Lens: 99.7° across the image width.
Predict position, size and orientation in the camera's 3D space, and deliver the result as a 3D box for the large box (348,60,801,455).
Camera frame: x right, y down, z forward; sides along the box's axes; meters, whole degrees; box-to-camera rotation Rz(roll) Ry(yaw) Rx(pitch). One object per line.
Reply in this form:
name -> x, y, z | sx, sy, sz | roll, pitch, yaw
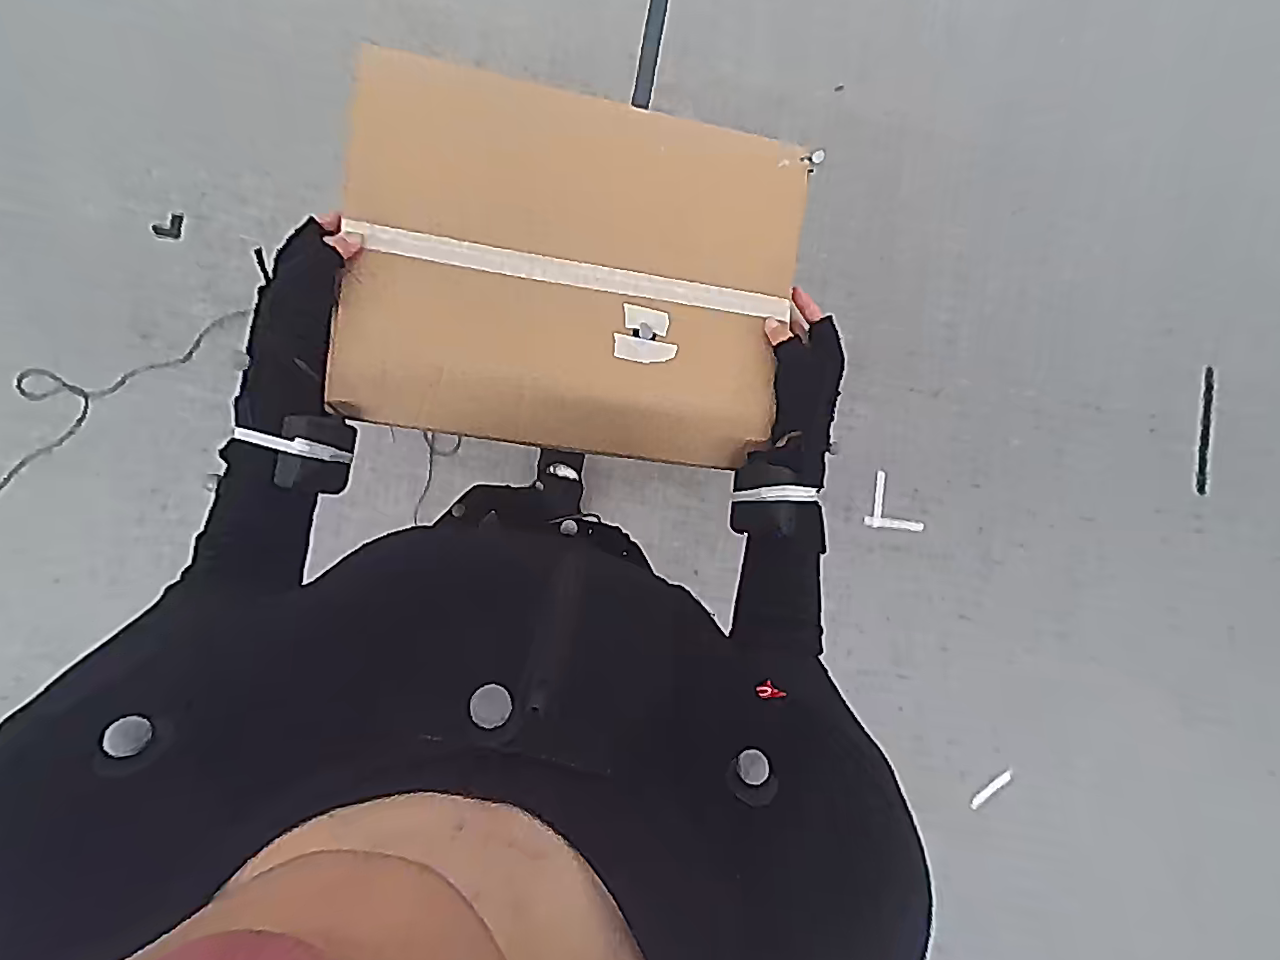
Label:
large box -> -0.075, -0.204, 0.652 | 0.408, 0.320, 0.320 | 7, 93, -9
